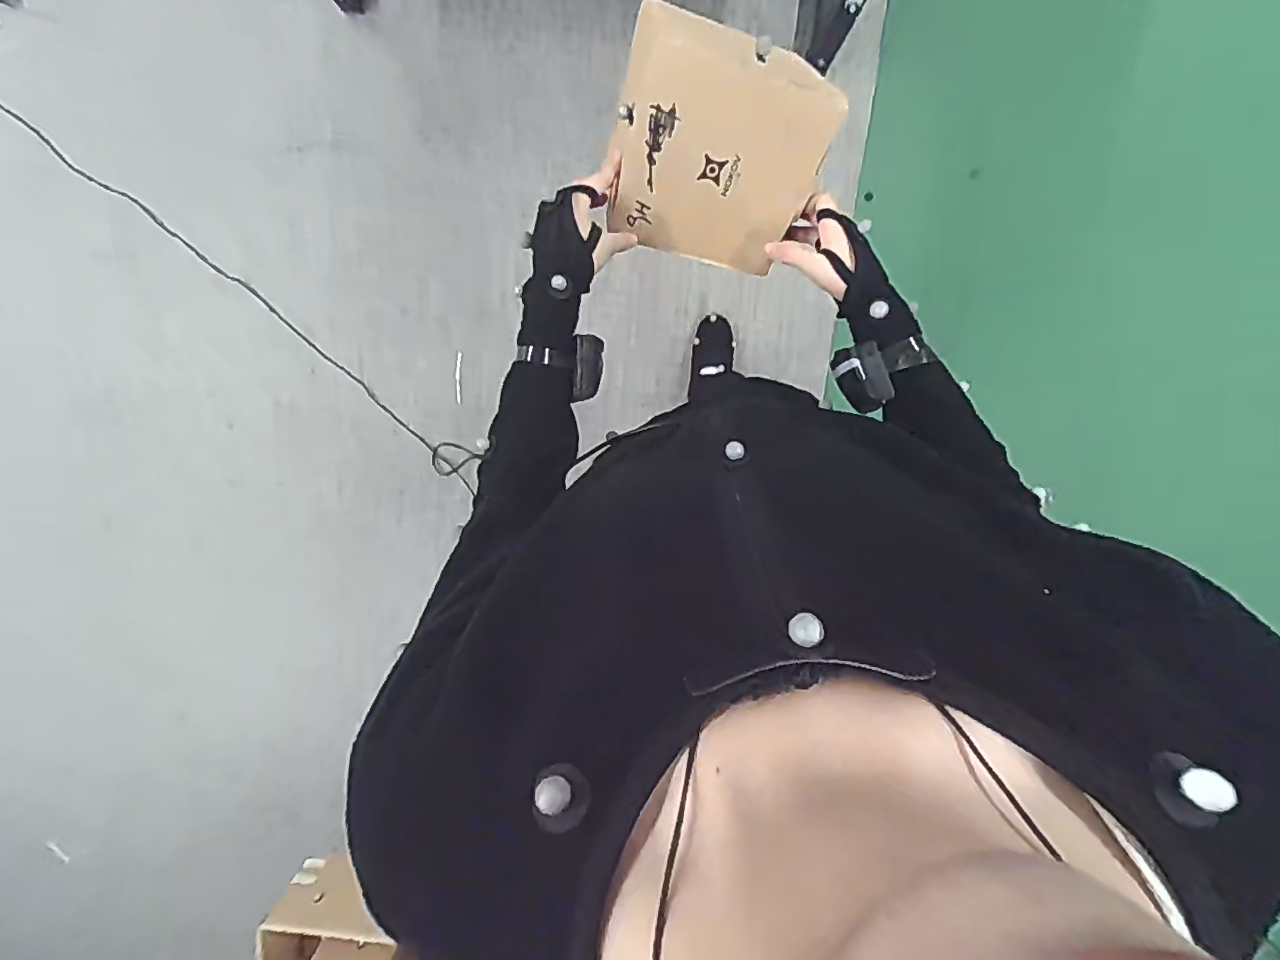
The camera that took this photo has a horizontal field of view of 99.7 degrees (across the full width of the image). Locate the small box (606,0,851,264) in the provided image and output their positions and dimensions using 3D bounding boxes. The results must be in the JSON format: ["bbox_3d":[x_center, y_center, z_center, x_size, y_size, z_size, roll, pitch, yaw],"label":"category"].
[{"bbox_3d":[0.068,-0.347,0.535,0.179,0.176,0.168,8,137,-13],"label":"small box"}]
